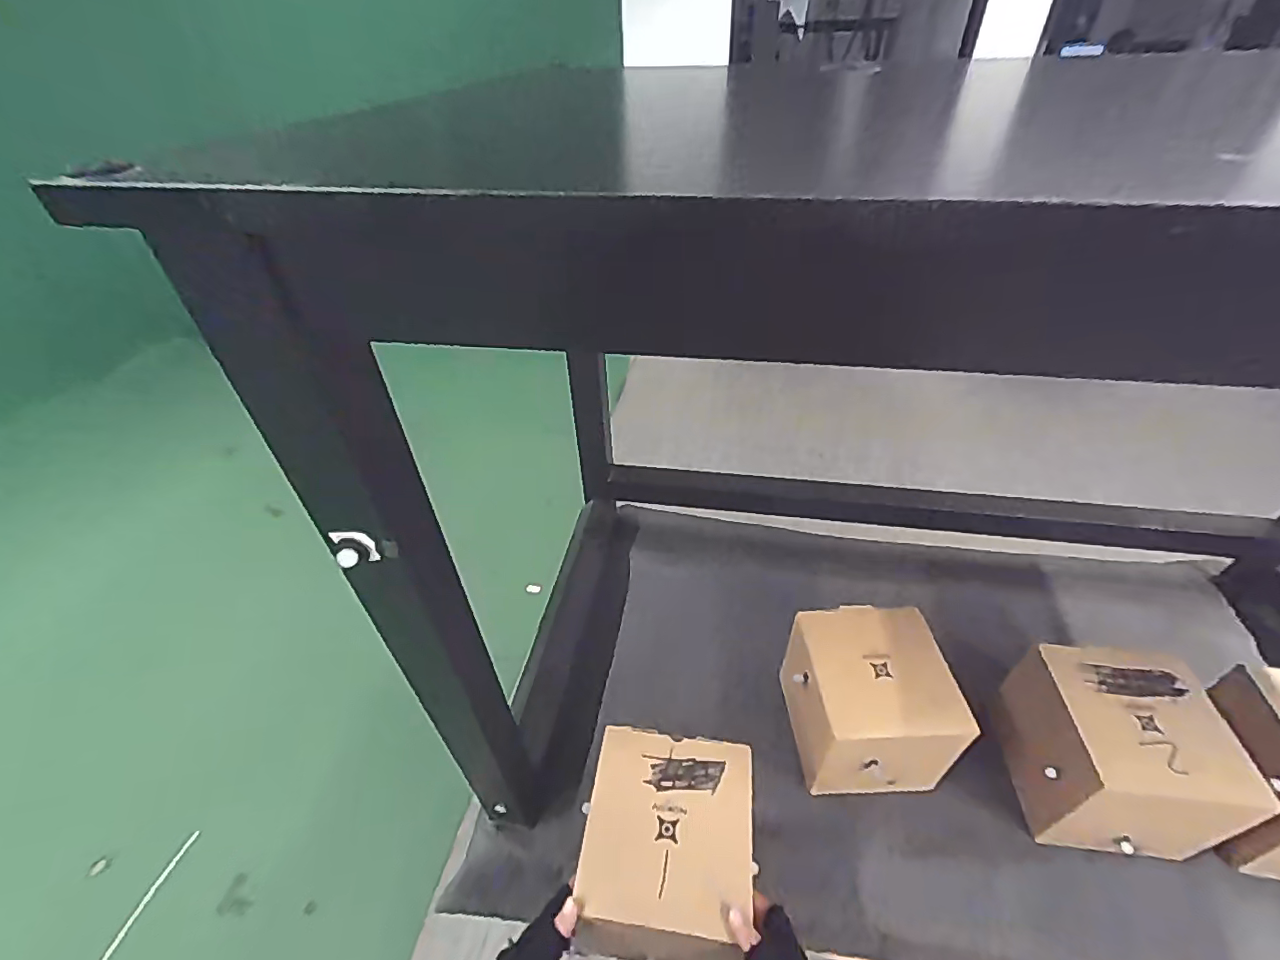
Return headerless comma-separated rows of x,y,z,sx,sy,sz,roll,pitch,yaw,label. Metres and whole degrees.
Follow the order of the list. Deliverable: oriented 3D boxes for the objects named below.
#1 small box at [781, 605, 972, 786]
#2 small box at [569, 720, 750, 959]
0.295,0.289,0.720,0.168,0.176,0.179,-2,40,0,small box
0.027,0.399,0.594,0.168,0.176,0.179,6,40,7,small box
